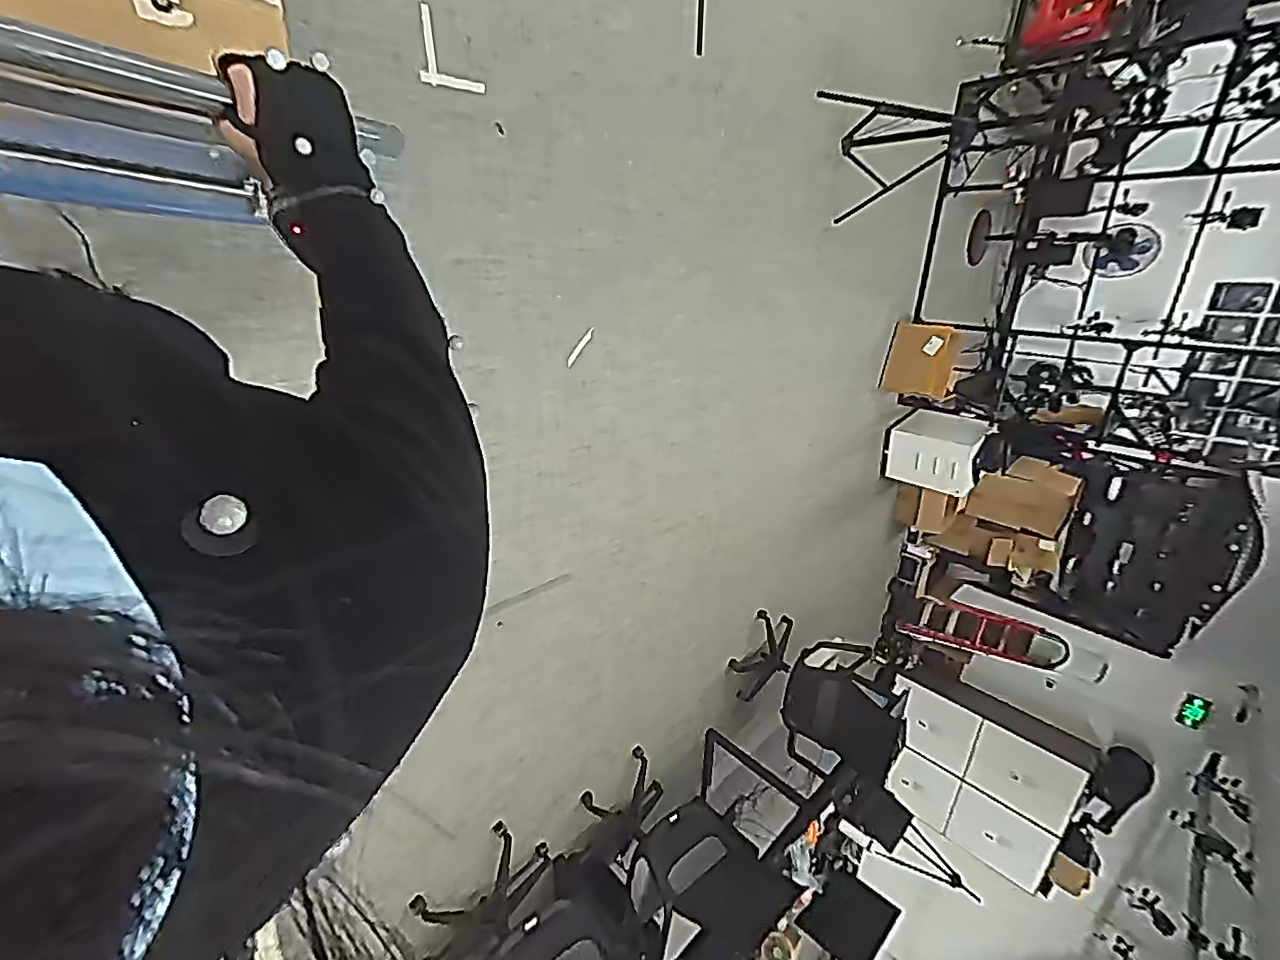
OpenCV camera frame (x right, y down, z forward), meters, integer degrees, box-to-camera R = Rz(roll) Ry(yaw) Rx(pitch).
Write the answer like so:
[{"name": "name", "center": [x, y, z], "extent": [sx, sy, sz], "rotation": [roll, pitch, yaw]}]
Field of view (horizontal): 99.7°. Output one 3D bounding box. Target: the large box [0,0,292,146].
[{"name": "large box", "center": [-0.763, -0.673, 0.720], "extent": [0.408, 0.320, 0.320], "rotation": [-18, 119, -43]}]
